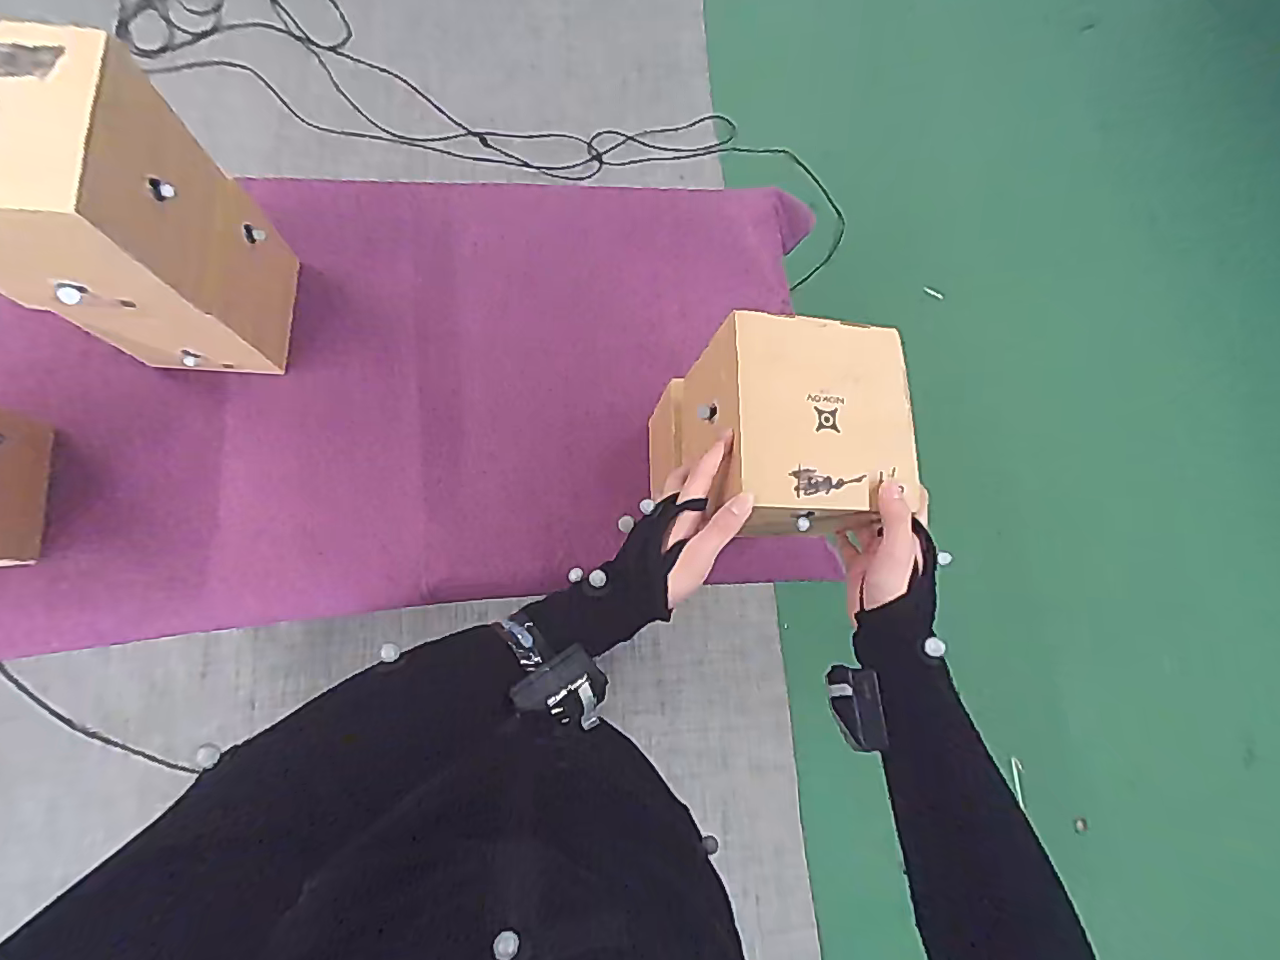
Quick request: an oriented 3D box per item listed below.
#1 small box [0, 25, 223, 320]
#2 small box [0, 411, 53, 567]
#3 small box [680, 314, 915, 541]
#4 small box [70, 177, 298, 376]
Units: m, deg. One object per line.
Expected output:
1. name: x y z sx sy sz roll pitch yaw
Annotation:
1. small box: -0.530 -0.273 0.503 0.168 0.176 0.179 0 79 -9
2. small box: -0.794 0.002 0.574 0.168 0.176 0.179 -3 78 -9
3. small box: 0.140 -0.038 0.543 0.168 0.176 0.179 3 77 -11
4. small box: -0.550 -0.246 0.664 0.168 0.176 0.179 2 79 -9
